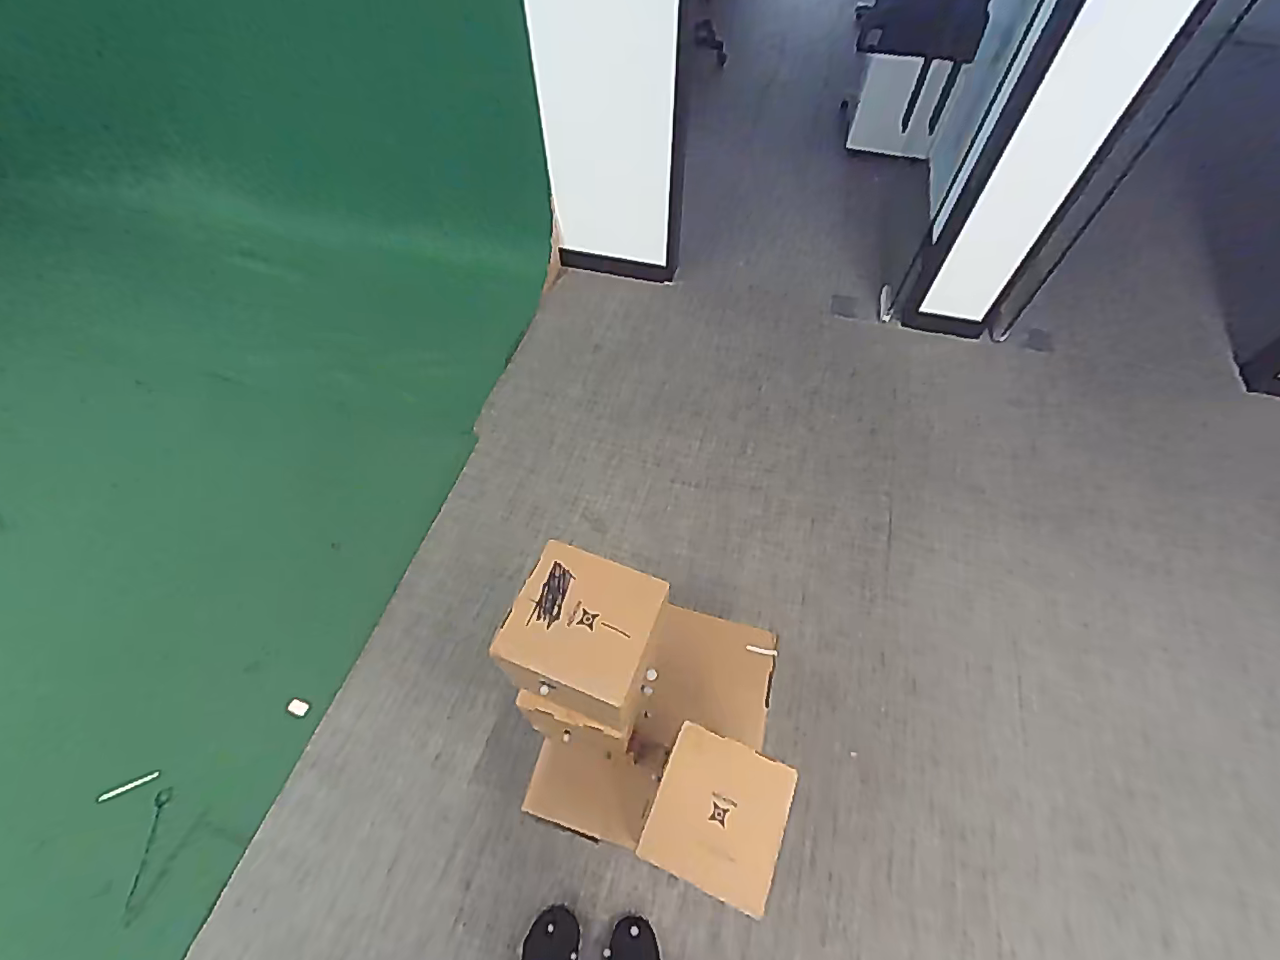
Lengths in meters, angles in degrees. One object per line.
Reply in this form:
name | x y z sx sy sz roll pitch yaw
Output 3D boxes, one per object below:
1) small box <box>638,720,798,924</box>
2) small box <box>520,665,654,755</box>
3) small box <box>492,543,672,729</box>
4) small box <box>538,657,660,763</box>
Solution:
small box | 0.102 0.473 0.762 0.168 0.176 0.179 21 59 13
small box | -0.072 0.317 0.868 0.168 0.176 0.179 14 58 9
small box | -0.069 0.218 0.736 0.179 0.176 0.168 19 58 11
small box | -0.069 0.409 1.002 0.179 0.176 0.168 13 56 8
